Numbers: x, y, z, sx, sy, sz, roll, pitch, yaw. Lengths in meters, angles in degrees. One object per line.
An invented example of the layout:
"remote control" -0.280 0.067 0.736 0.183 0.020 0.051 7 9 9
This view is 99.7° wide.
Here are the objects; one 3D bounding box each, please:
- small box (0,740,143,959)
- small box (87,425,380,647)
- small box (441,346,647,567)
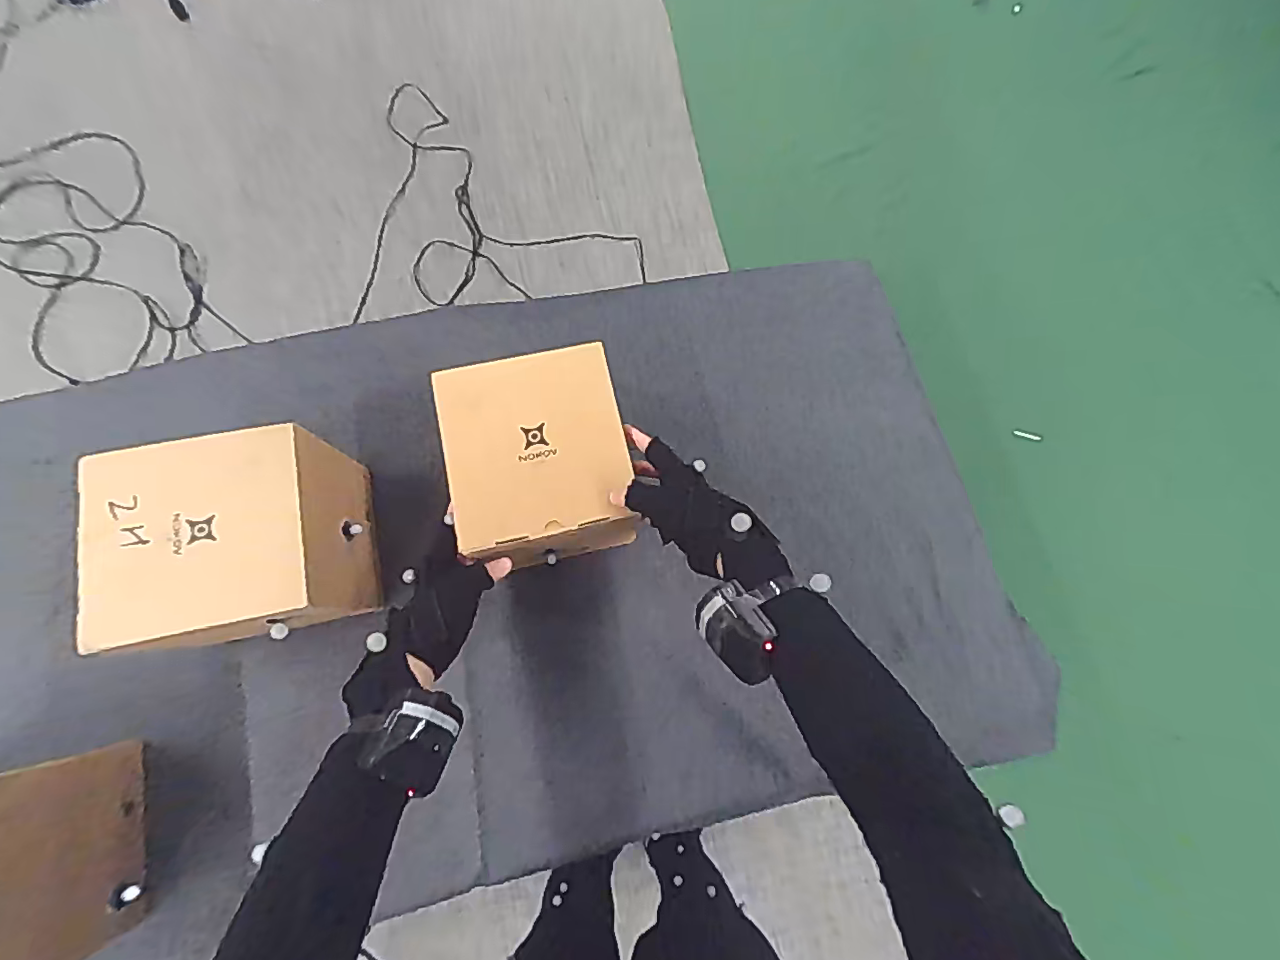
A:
"small box" -0.565 0.334 0.447 0.179 0.176 0.168 -12 76 -7
"small box" -0.374 0.059 0.532 0.179 0.176 0.168 -10 77 -7
"small box" -0.097 -0.015 0.575 0.168 0.176 0.179 -12 77 -7
